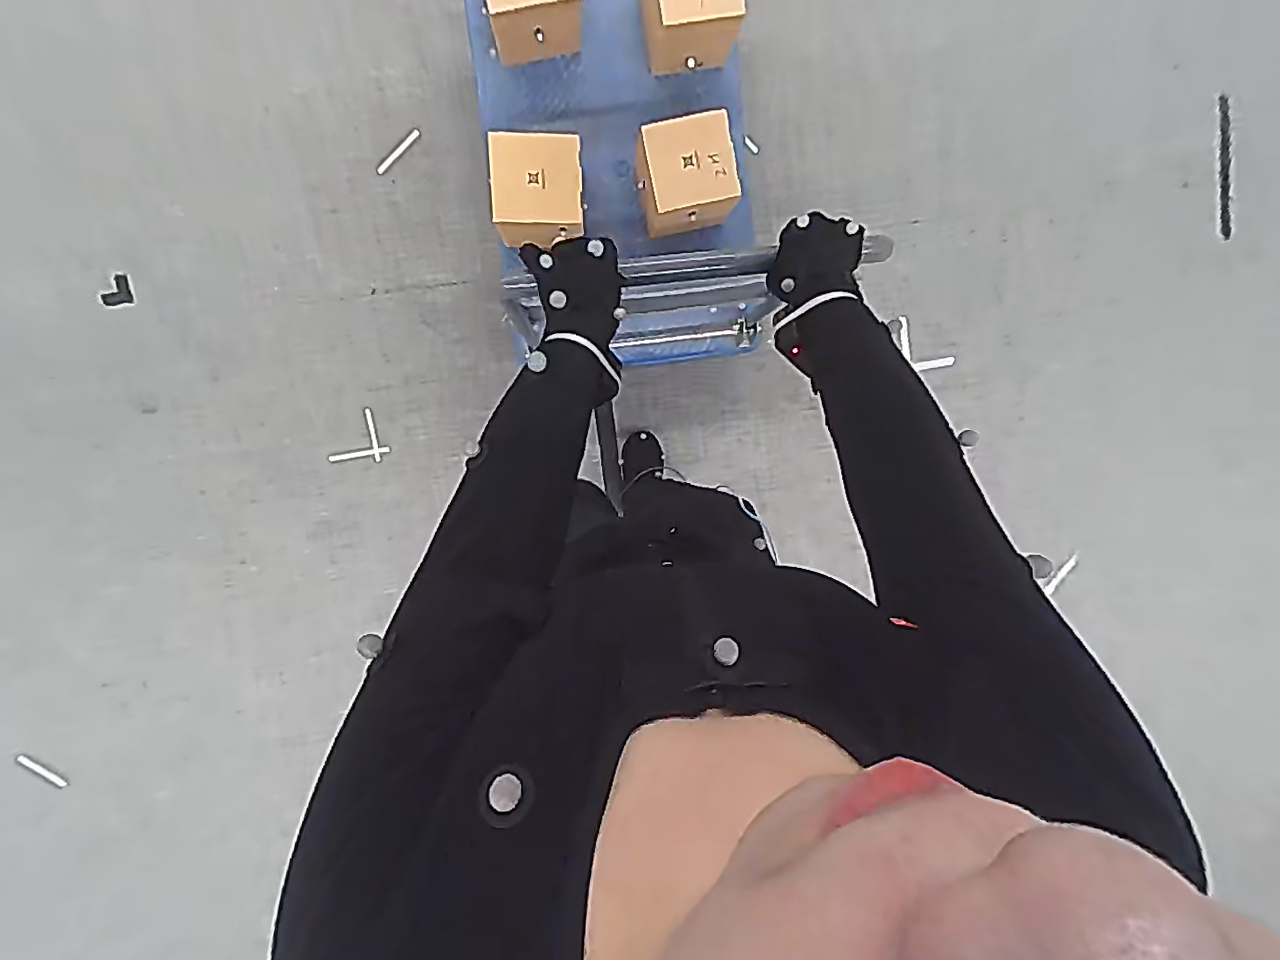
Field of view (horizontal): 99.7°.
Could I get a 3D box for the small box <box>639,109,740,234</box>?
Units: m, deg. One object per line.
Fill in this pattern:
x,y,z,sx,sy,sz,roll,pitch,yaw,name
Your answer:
0.097,-0.644,1.150,0.179,0.176,0.168,-13,99,-3,small box

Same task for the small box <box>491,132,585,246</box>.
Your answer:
-0.206,-0.598,1.132,0.179,0.176,0.168,-2,98,-6,small box

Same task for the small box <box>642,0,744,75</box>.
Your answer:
0.100,-0.979,1.105,0.168,0.176,0.179,-11,100,-4,small box
